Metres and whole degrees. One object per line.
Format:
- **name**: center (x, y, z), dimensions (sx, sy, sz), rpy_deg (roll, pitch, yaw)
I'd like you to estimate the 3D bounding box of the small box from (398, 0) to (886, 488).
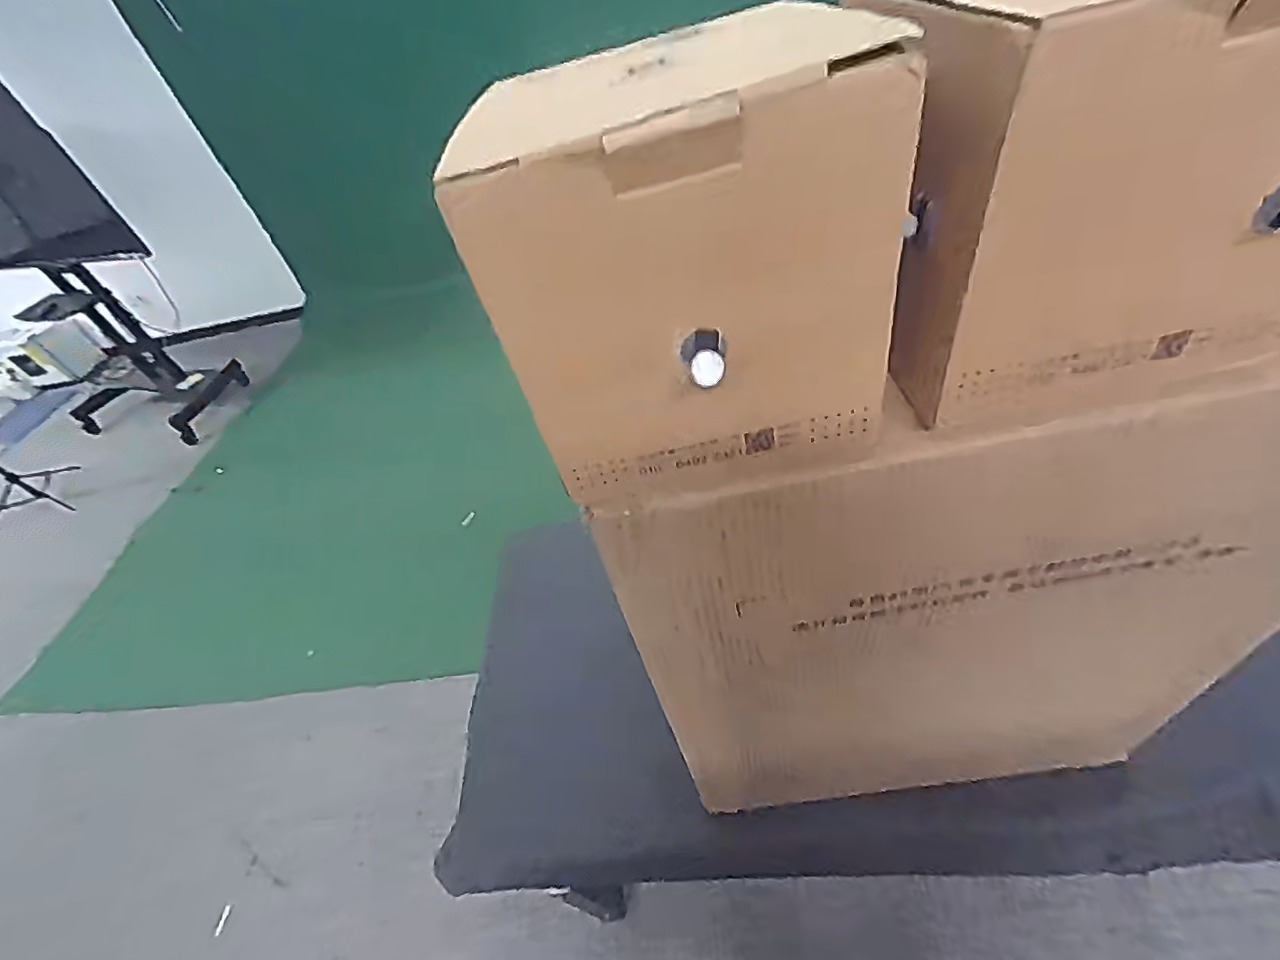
- **small box**: center (0.010, -0.113, 0.284), dimensions (0.168, 0.176, 0.179), rpy_deg (-12, 46, 7)
